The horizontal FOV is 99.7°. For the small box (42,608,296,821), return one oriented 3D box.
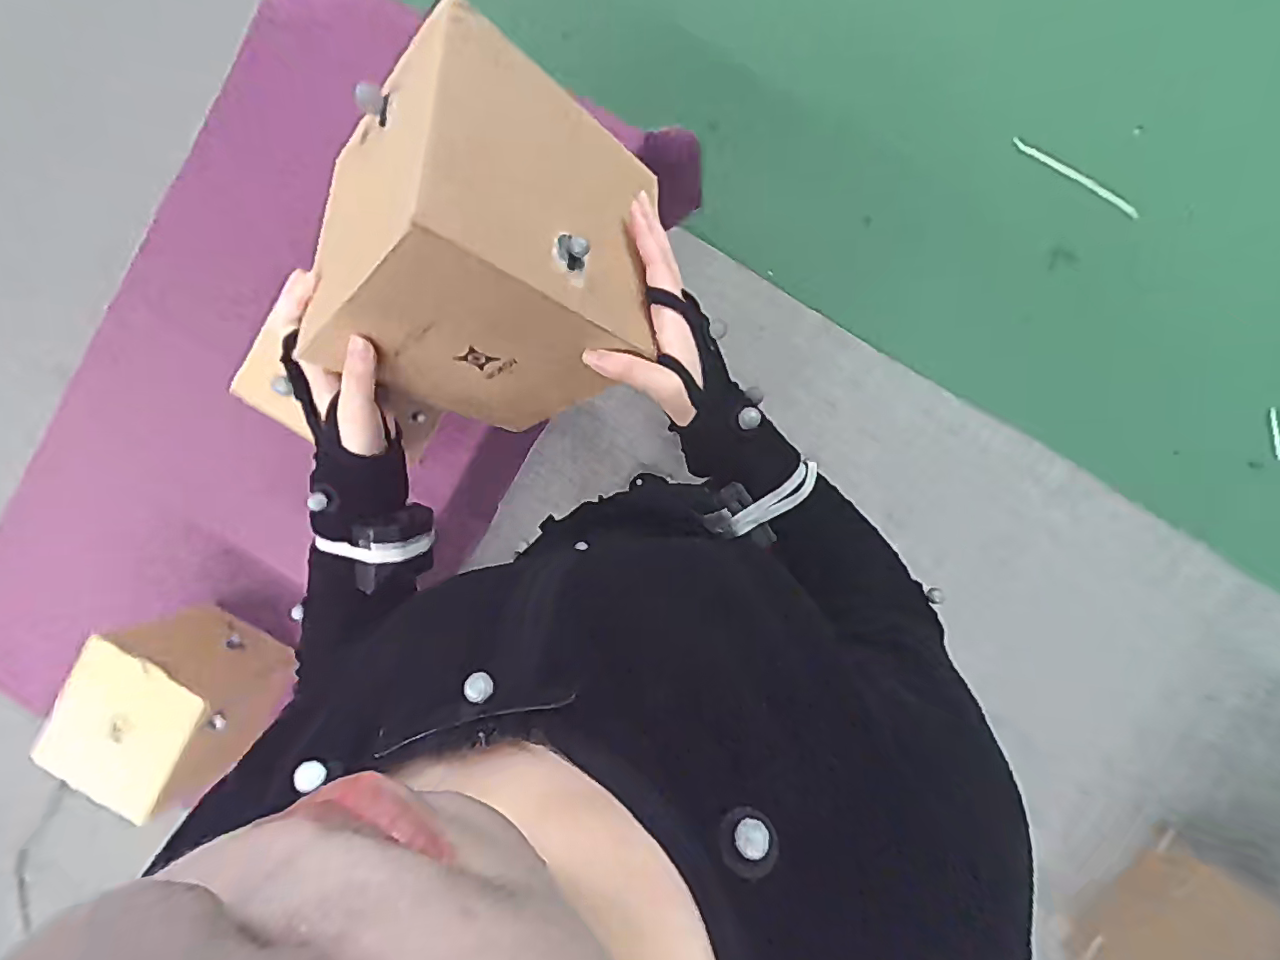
[{"bbox_3d":[-0.618,0.300,0.734,0.168,0.176,0.179,28,91,4],"label":"small box"}]

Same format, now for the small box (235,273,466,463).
[{"bbox_3d":[-0.364,-0.134,0.716,0.179,0.176,0.168,31,92,4],"label":"small box"}]
